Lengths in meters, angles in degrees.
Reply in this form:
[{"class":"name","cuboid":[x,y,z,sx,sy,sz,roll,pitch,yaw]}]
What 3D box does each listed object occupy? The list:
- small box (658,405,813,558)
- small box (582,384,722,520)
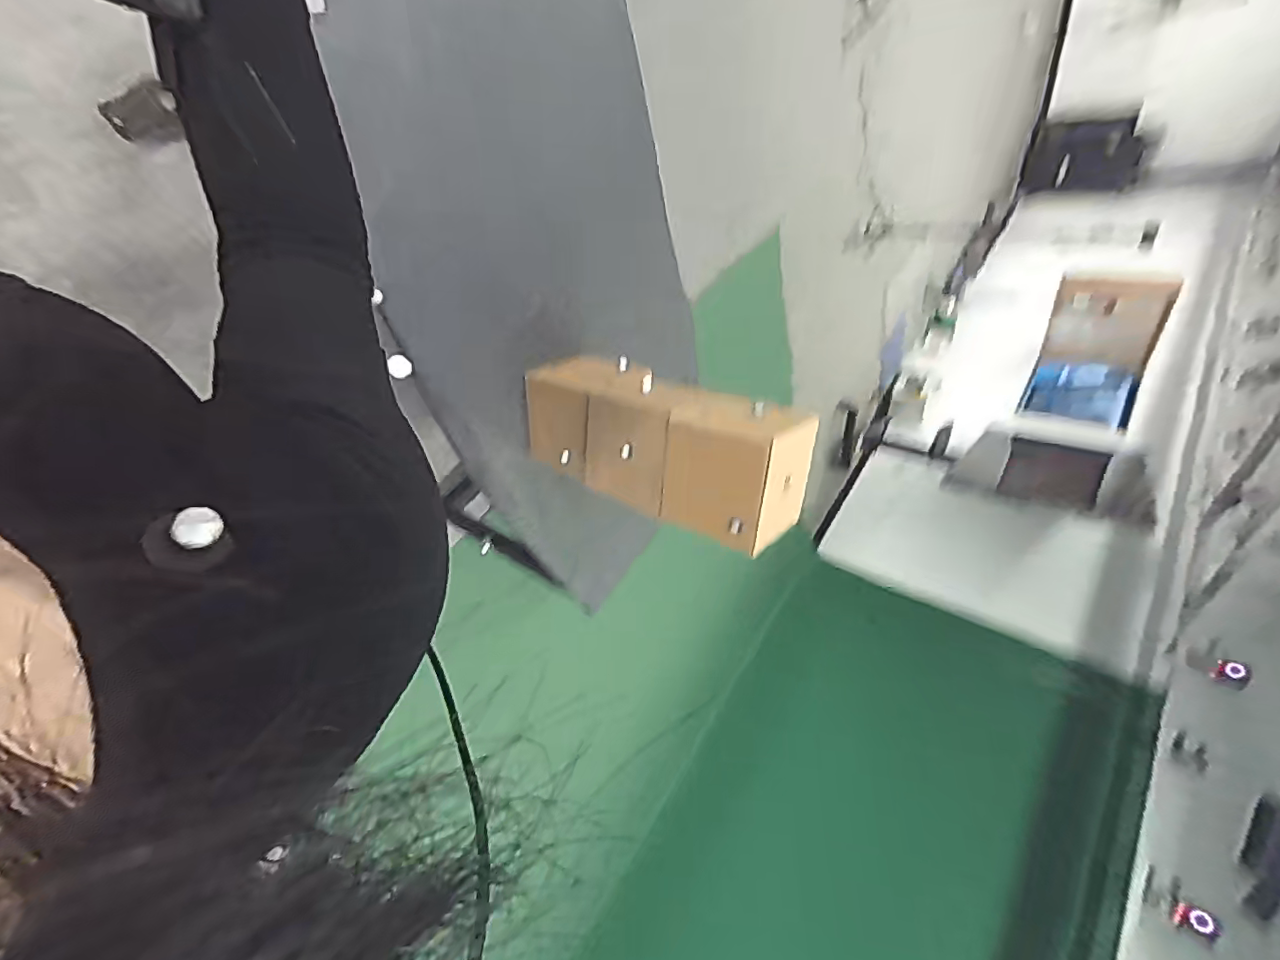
[{"class":"small box","cuboid":[0.142,-0.011,0.829,0.168,0.176,0.179,-23,125,-48]},{"class":"small box","cuboid":[0.017,-0.056,0.922,0.168,0.176,0.179,-20,122,-49]}]
